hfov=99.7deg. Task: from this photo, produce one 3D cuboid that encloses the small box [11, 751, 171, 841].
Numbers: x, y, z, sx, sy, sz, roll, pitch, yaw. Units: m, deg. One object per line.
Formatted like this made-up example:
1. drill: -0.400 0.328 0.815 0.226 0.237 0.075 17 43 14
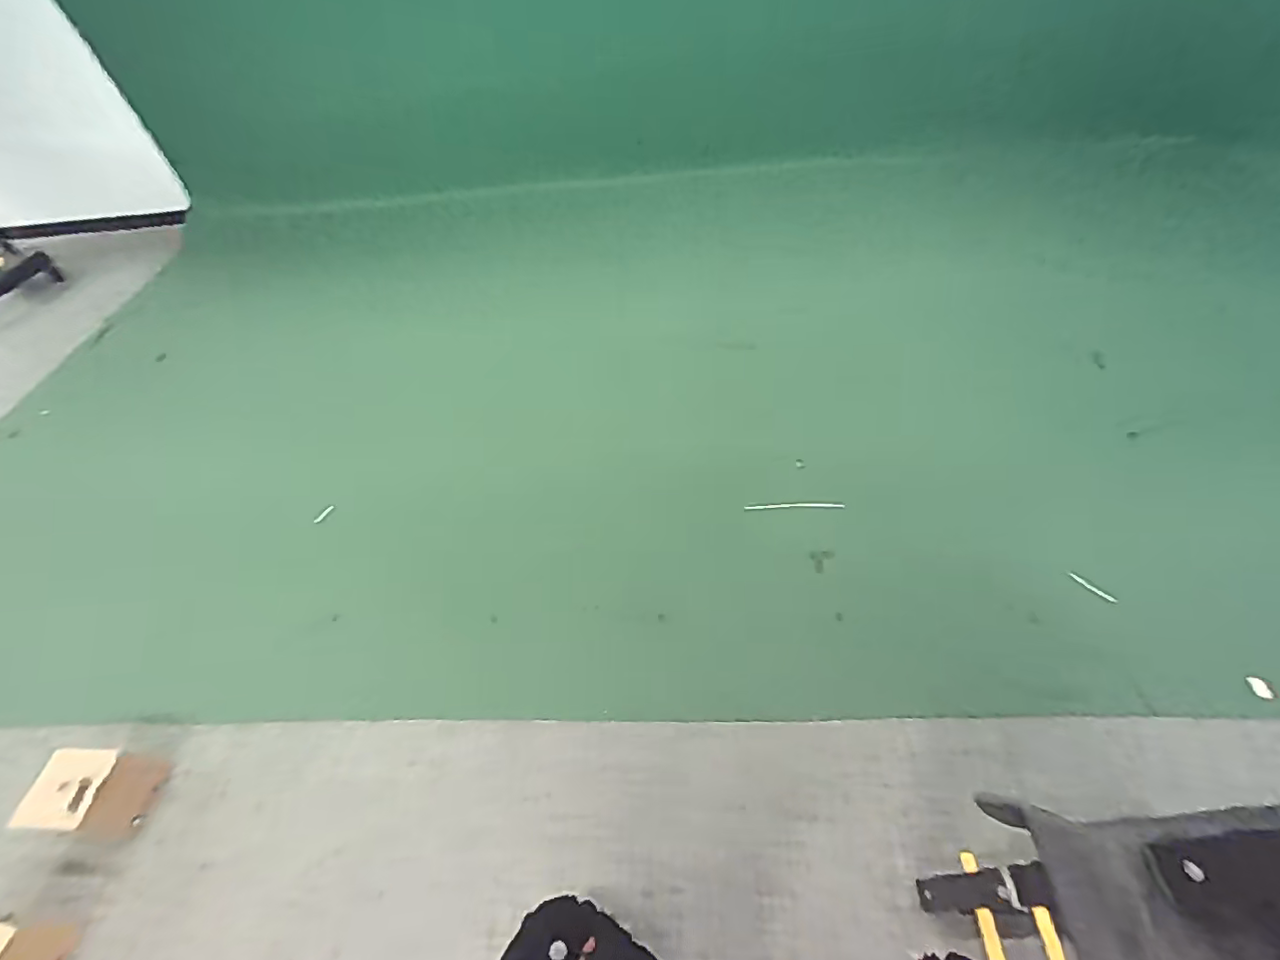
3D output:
1. small box: -1.314 0.770 1.313 0.179 0.176 0.168 -1 51 6
